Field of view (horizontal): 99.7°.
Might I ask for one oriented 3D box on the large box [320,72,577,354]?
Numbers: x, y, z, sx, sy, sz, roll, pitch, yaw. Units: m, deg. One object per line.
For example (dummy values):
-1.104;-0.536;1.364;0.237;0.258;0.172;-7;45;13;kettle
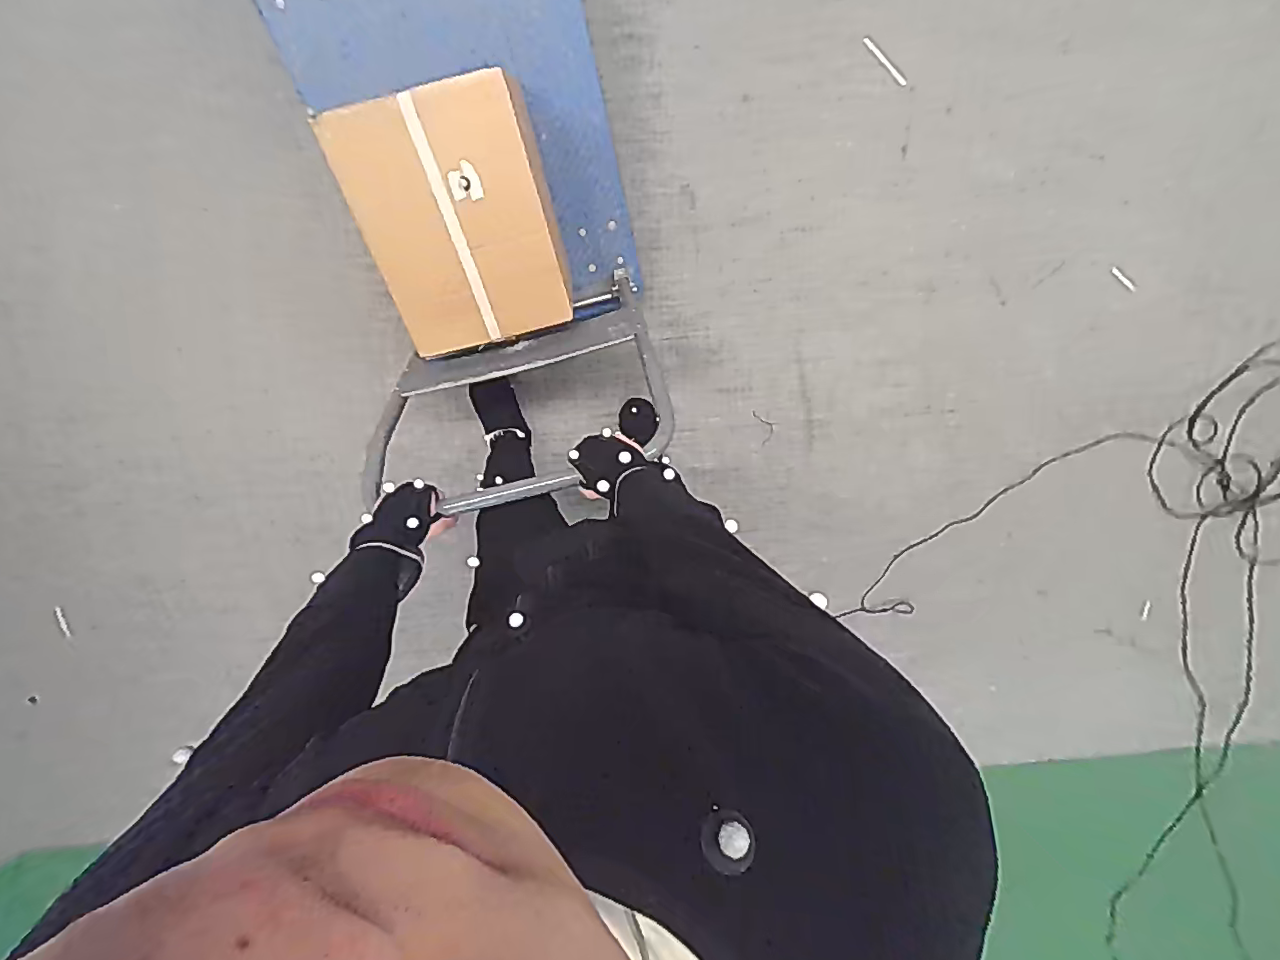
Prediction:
-0.330;-0.520;1.081;0.320;0.320;0.408;-14;123;2;large box
